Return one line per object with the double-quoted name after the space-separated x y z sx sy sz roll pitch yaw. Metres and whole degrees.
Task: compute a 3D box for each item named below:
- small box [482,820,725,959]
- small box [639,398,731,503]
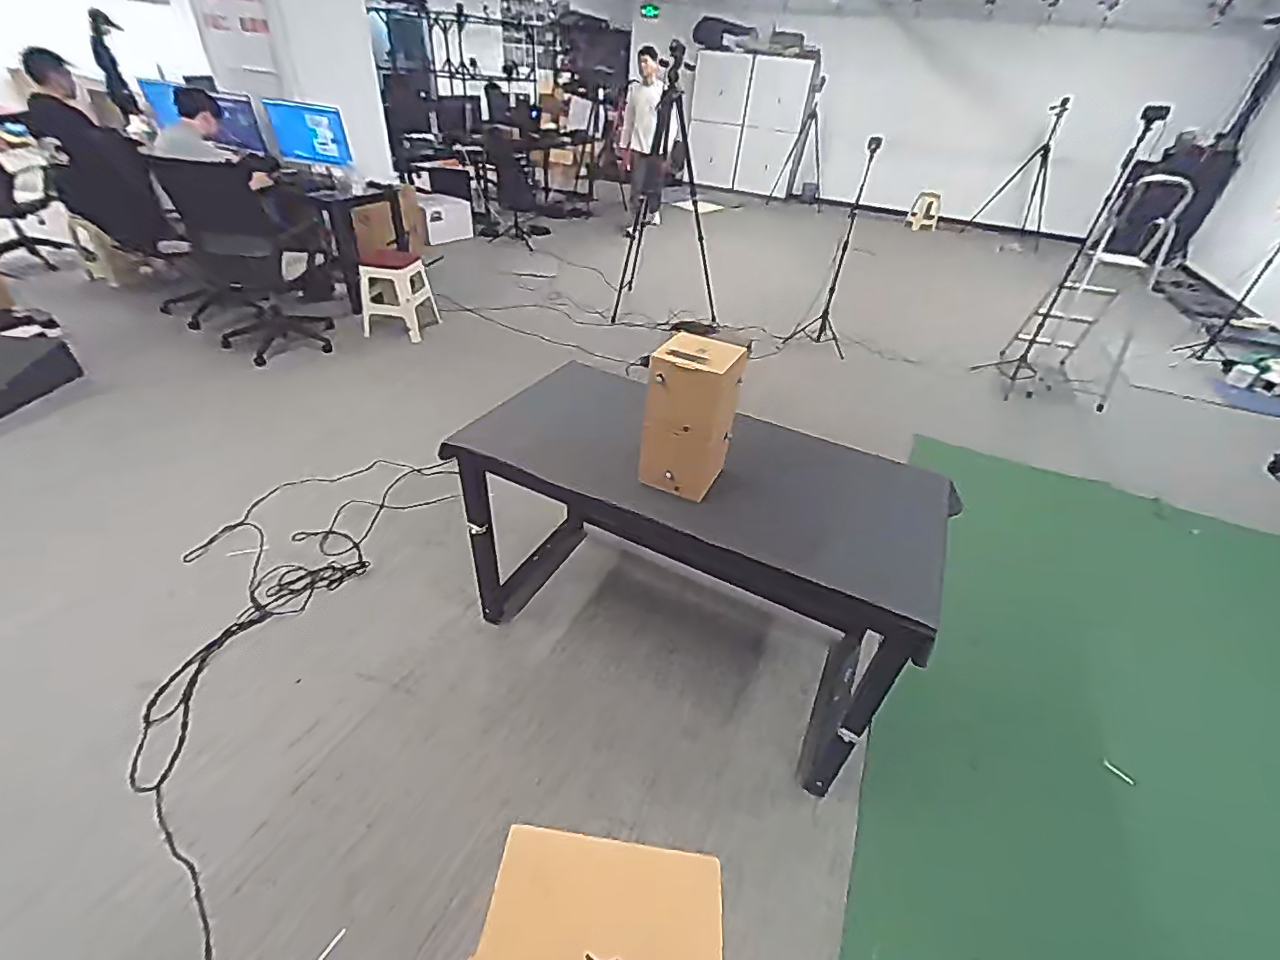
-0.037 0.392 0.394 0.168 0.176 0.179 10 33 -1 "small box"
0.105 -0.074 1.323 0.168 0.176 0.179 19 38 18 "small box"
